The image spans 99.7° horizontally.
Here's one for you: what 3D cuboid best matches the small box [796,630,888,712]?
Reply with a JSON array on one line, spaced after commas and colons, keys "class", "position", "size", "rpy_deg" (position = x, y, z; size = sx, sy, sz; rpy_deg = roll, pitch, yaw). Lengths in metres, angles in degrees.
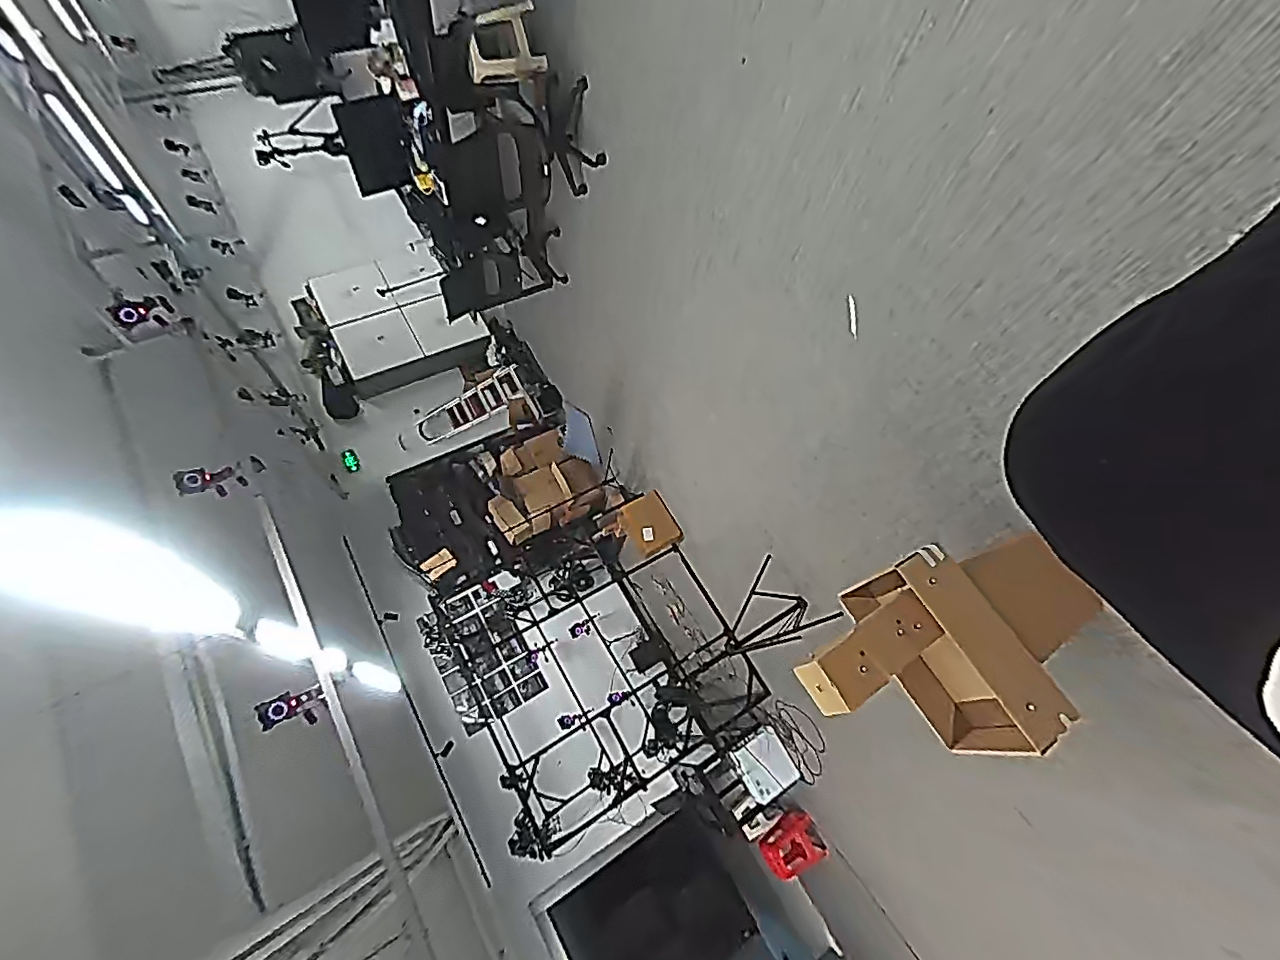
[{"class": "small box", "position": [0.619, 0.585, 1.657], "size": [0.168, 0.176, 0.179], "rpy_deg": [56, 158, 18]}]
